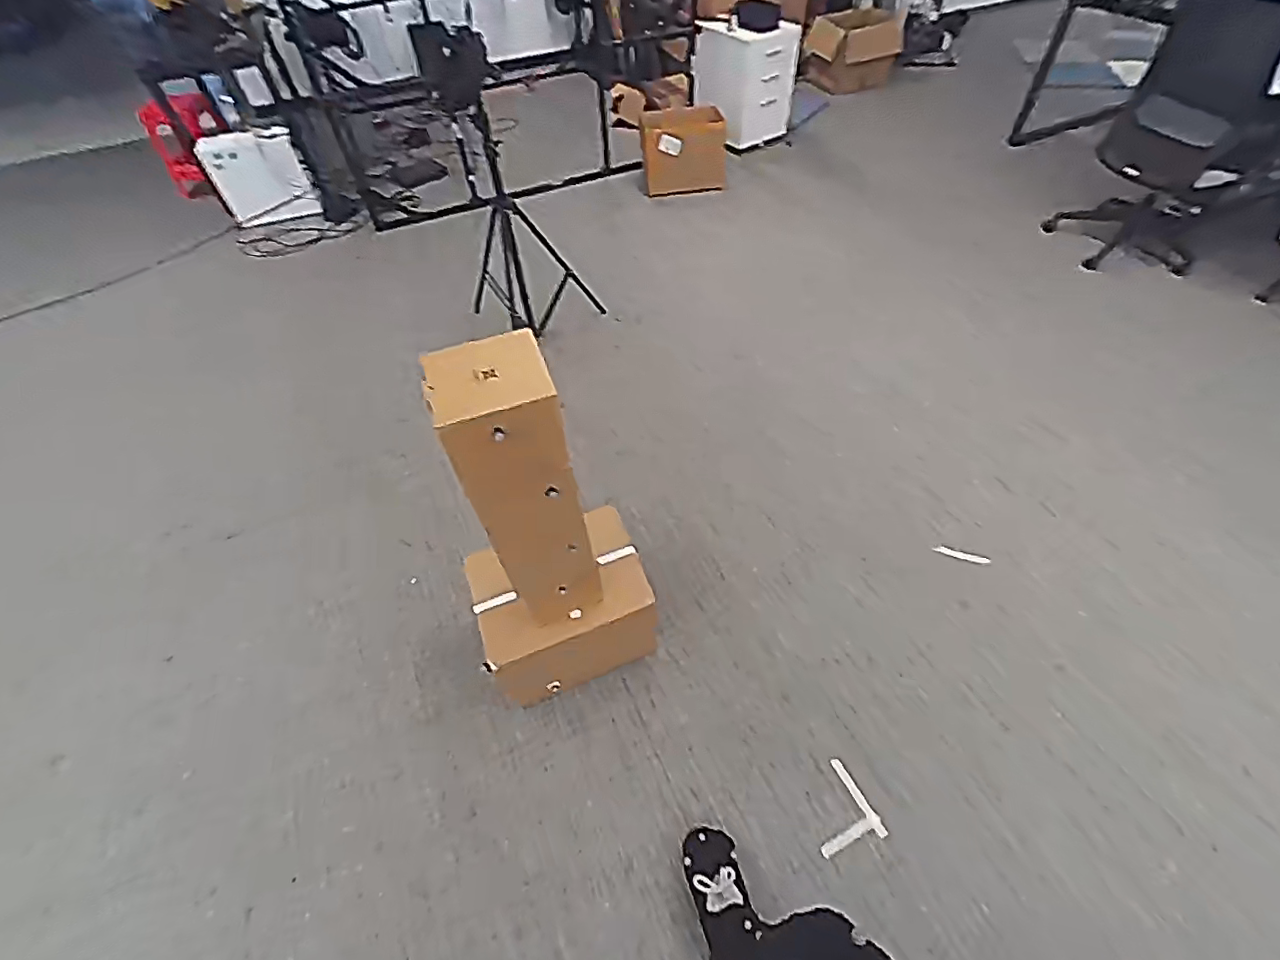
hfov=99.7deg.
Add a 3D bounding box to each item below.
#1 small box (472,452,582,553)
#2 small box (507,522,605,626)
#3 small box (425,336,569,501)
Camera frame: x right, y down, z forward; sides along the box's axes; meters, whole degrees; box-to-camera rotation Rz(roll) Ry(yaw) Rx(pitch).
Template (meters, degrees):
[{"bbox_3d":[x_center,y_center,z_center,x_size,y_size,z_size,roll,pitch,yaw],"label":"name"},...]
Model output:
[{"bbox_3d":[-0.211,0.005,0.985,0.179,0.176,0.168,-18,53,-11],"label":"small box"},{"bbox_3d":[-0.192,0.209,1.243,0.179,0.176,0.168,-21,55,-14],"label":"small box"},{"bbox_3d":[-0.218,-0.095,0.859,0.179,0.176,0.168,-18,54,-10],"label":"small box"}]
